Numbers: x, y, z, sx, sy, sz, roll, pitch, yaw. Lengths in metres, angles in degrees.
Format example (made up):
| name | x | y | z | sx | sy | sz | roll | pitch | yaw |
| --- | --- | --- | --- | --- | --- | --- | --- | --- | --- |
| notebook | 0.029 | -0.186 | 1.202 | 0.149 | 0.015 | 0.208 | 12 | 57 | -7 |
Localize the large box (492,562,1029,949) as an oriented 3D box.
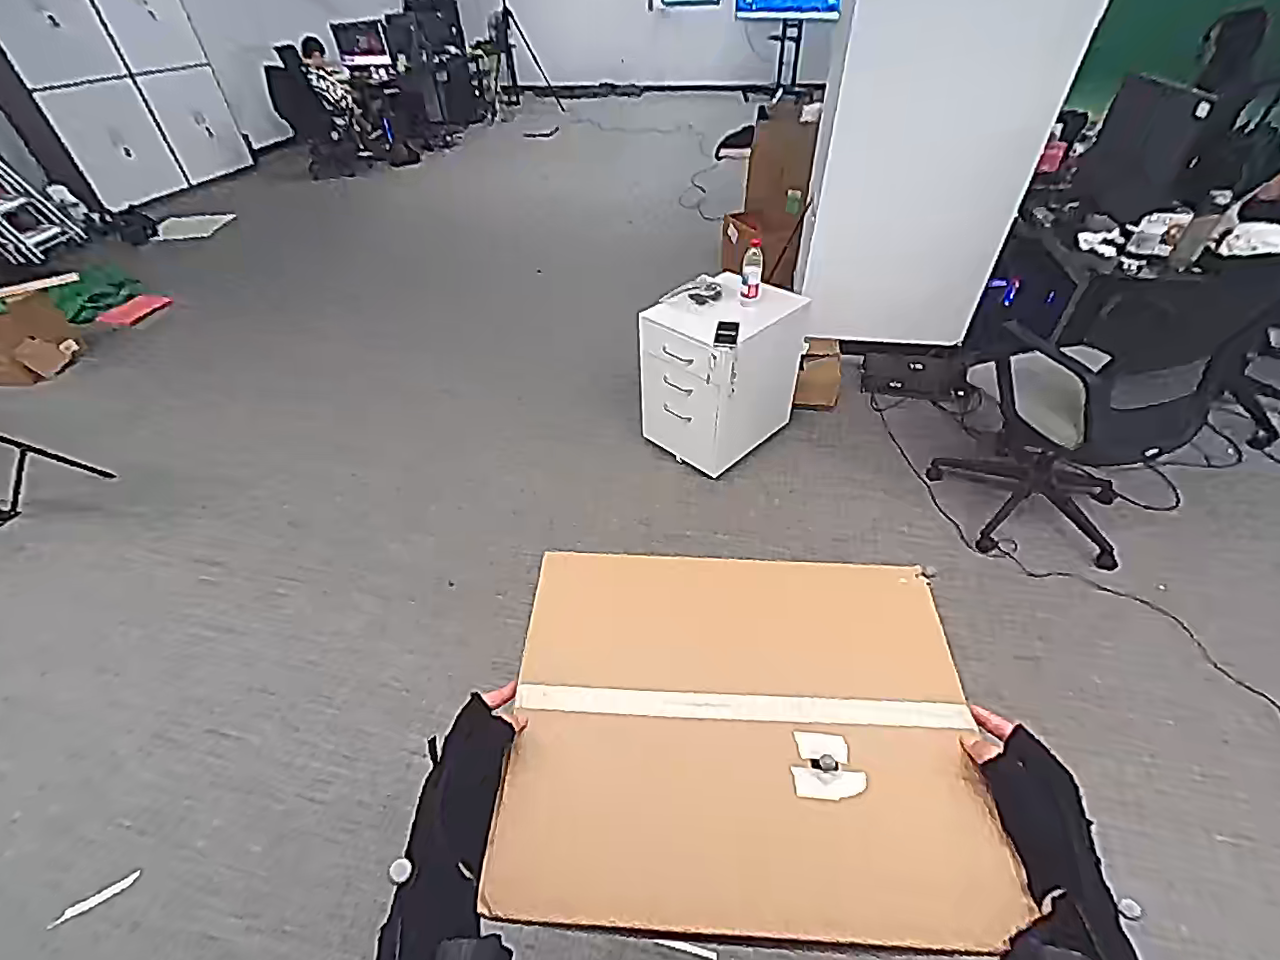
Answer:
| name | x | y | z | sx | sy | sz | roll | pitch | yaw |
| --- | --- | --- | --- | --- | --- | --- | --- | --- | --- |
| large box | 0.091 | 0.309 | 0.603 | 0.408 | 0.320 | 0.320 | 3 | 50 | 2 |
